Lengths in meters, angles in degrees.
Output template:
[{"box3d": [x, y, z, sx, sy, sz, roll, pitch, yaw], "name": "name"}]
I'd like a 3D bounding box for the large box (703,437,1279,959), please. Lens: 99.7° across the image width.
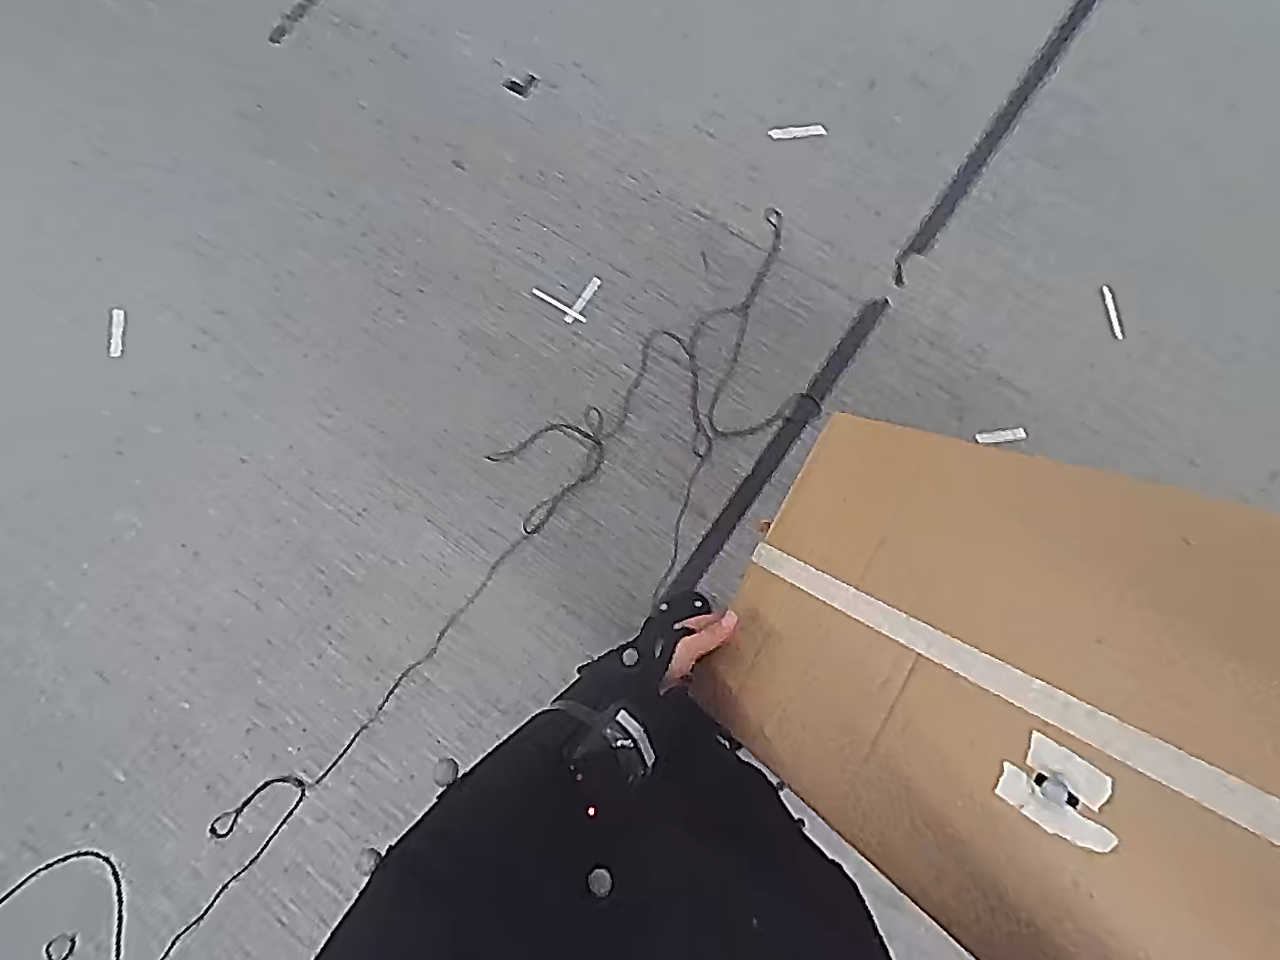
[{"box3d": [0.343, 0.200, 0.477, 0.408, 0.320, 0.320, 26, 87, 49], "name": "large box"}]
